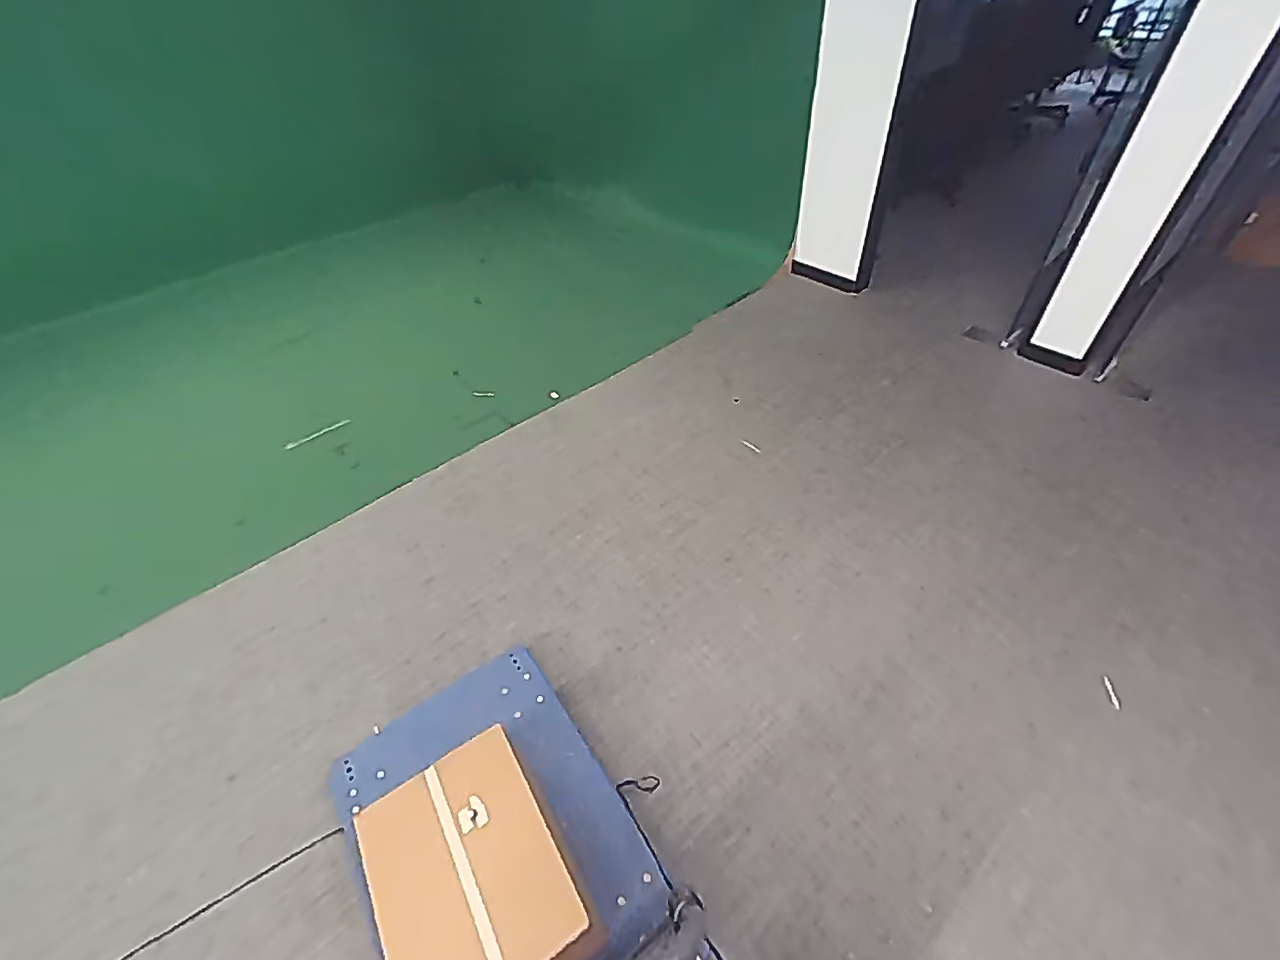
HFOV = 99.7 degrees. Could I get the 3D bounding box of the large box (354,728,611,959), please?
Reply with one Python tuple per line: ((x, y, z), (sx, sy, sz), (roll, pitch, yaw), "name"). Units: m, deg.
((-0.301, 0.801, 1.071), (0.320, 0.320, 0.408), (-27, 49, -20), "large box")
